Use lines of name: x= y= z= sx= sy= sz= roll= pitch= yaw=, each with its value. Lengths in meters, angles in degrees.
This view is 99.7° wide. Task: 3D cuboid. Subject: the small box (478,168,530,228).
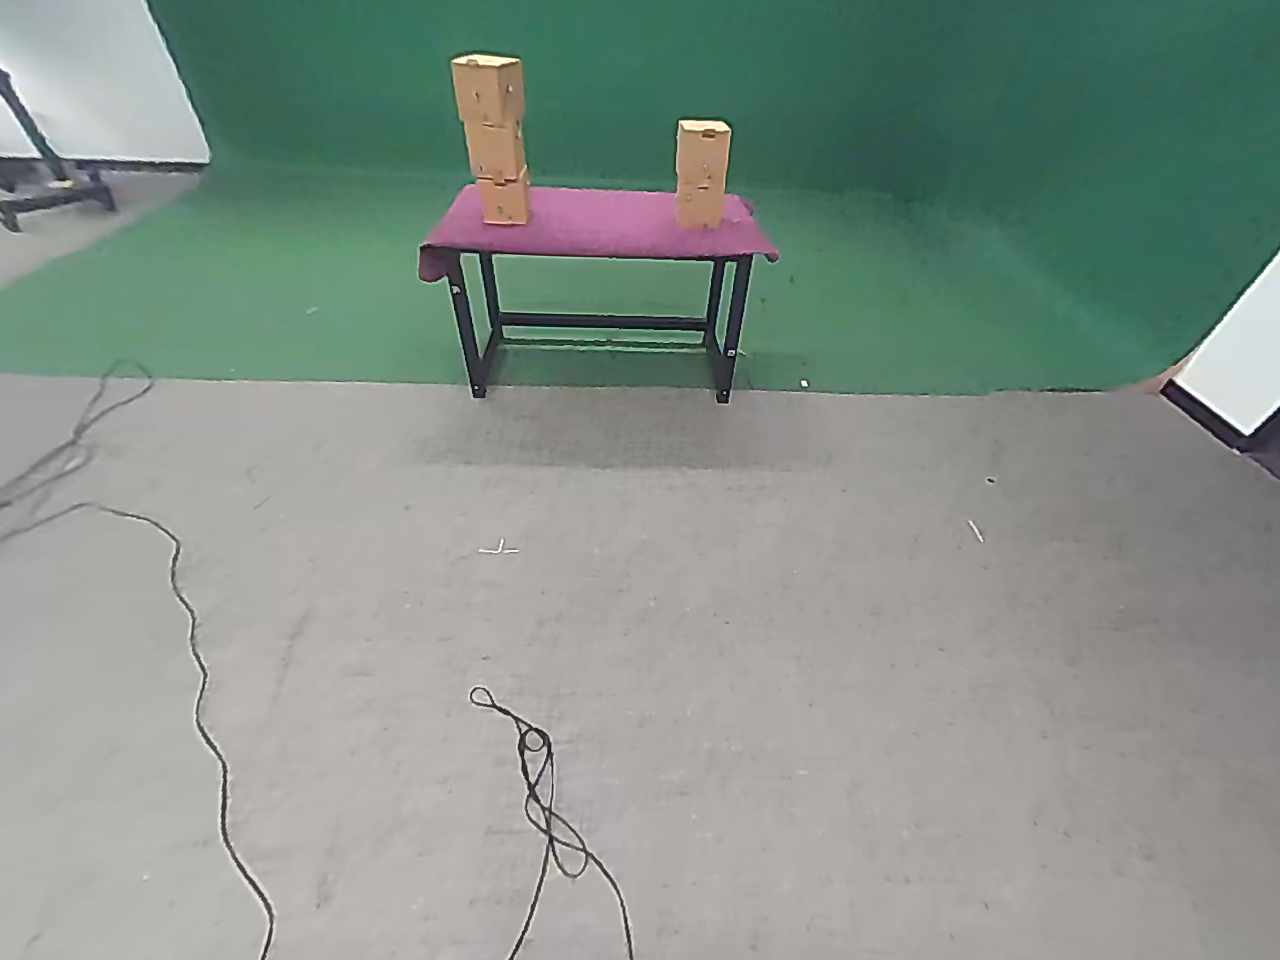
small box: x=-0.518 y=-1.093 z=2.087 sx=0.168 sy=0.176 sz=0.179 roll=0 pitch=45 yaw=-4

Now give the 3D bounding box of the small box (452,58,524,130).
small box: x=-0.511 y=-1.319 z=1.848 sx=0.168 sy=0.176 sz=0.179 roll=16 pitch=47 yaw=11

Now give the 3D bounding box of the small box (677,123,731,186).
small box: x=0.230 y=-1.207 z=2.003 sx=0.168 sy=0.176 sz=0.179 roll=-2 pitch=44 yaw=-4

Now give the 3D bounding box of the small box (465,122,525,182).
small box: x=-0.519 y=-1.200 z=1.961 sx=0.168 sy=0.176 sz=0.179 roll=3 pitch=44 yaw=-1
